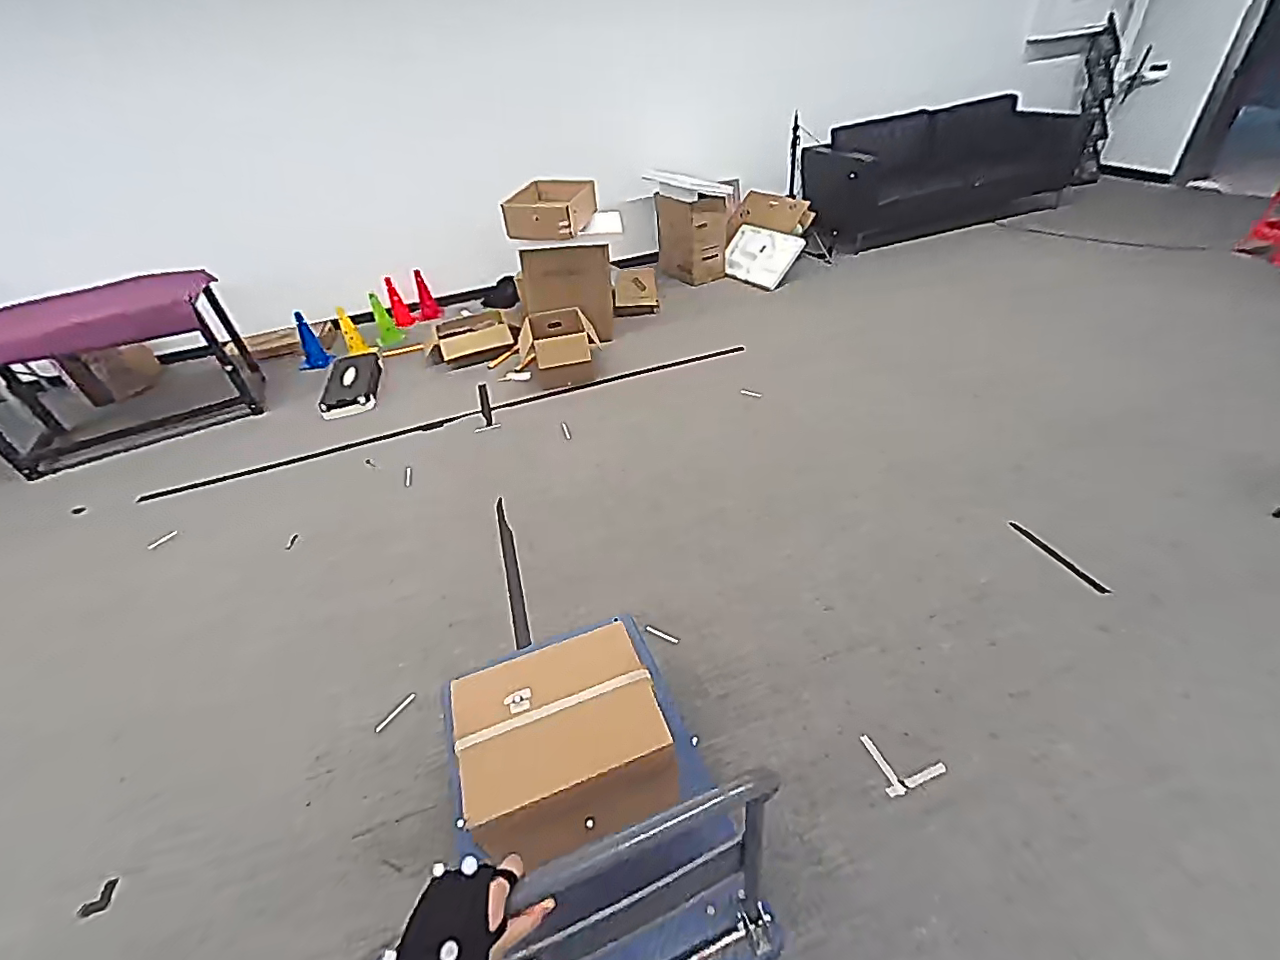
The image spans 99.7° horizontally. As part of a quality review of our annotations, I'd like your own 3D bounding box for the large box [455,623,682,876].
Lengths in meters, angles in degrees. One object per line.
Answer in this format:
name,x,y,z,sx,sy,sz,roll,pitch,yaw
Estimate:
large box,-0.155,0.598,1.220,0.408,0.320,0.320,-18,39,-12
